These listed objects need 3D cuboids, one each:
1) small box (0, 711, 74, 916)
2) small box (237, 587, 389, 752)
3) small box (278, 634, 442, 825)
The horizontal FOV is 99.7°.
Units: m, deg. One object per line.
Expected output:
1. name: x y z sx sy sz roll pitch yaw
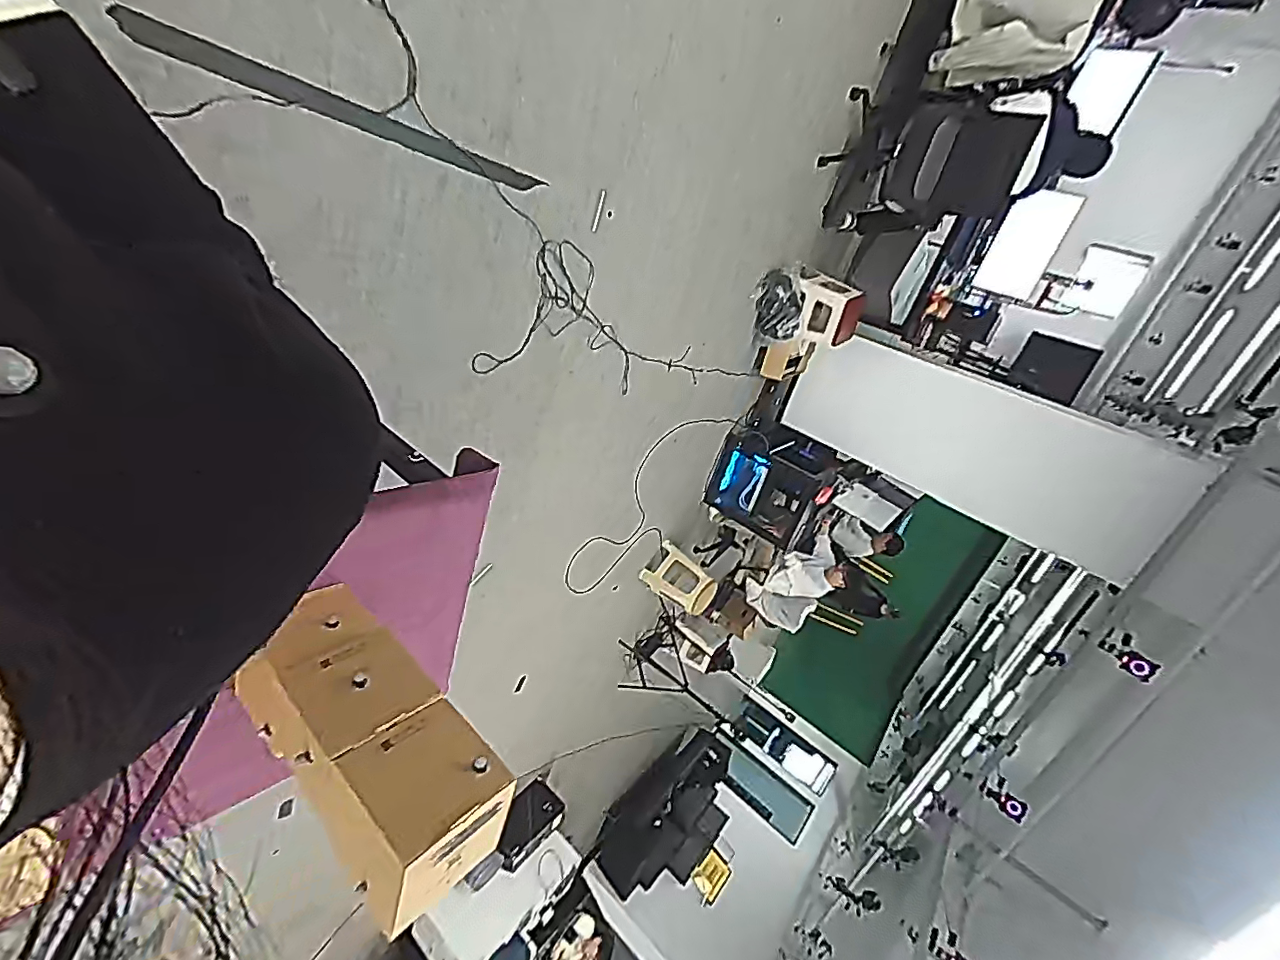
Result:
1. small box: -0.792 0.398 0.618 0.168 0.176 0.179 -14 130 -52
2. small box: -0.554 0.303 0.912 0.168 0.176 0.179 -16 131 -52
3. small box: -0.427 0.362 0.825 0.168 0.176 0.179 -21 135 -49
